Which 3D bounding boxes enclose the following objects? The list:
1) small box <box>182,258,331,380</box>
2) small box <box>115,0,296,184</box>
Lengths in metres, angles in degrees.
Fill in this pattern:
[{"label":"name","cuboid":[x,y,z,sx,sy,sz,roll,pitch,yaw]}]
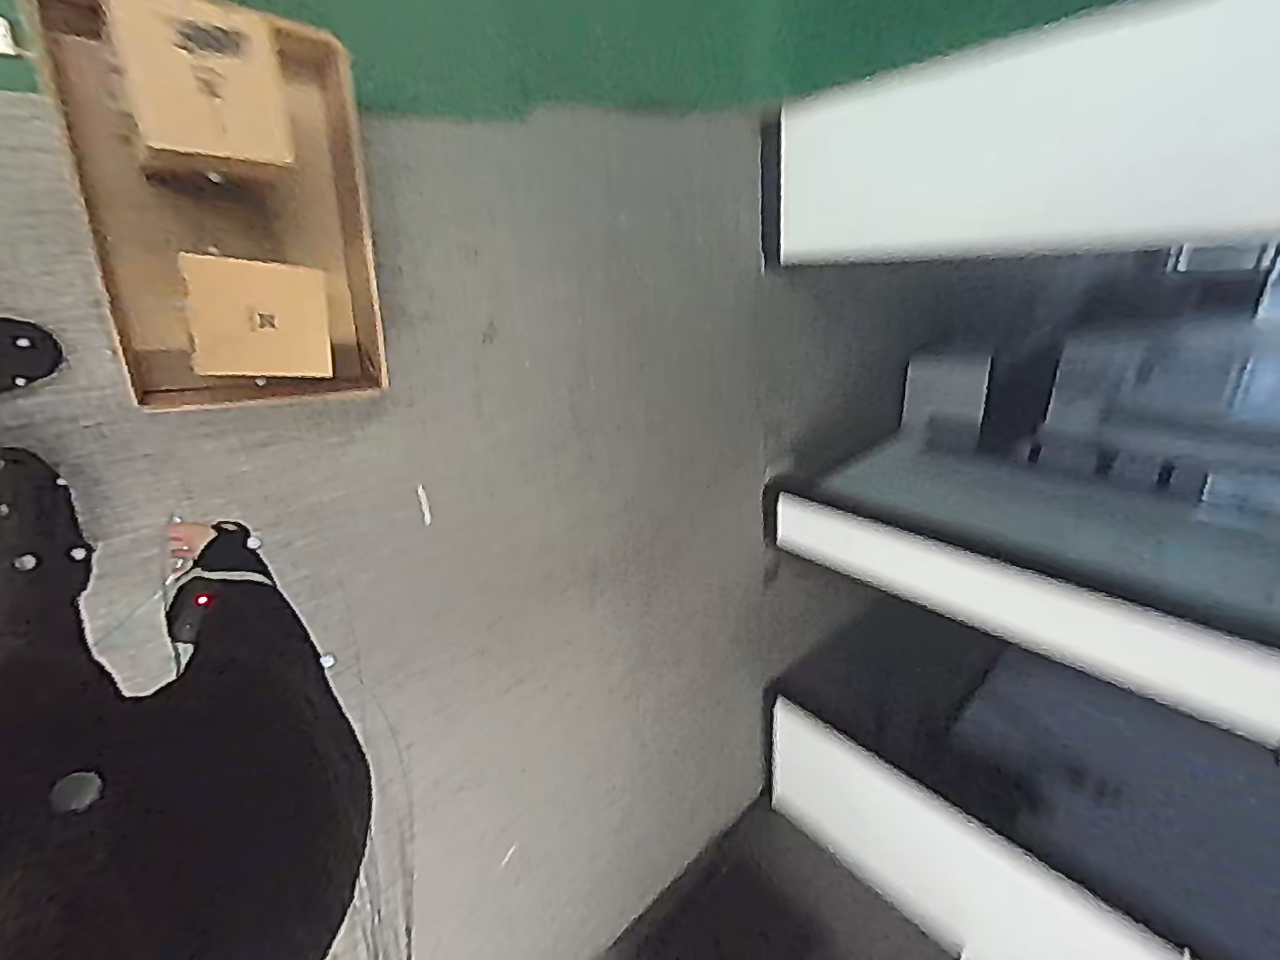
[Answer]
[{"label":"small box","cuboid":[-0.617,-0.256,0.873,0.179,0.176,0.168,-7,109,-38]},{"label":"small box","cuboid":[-0.616,-0.538,0.768,0.168,0.176,0.179,-15,116,-38]}]
